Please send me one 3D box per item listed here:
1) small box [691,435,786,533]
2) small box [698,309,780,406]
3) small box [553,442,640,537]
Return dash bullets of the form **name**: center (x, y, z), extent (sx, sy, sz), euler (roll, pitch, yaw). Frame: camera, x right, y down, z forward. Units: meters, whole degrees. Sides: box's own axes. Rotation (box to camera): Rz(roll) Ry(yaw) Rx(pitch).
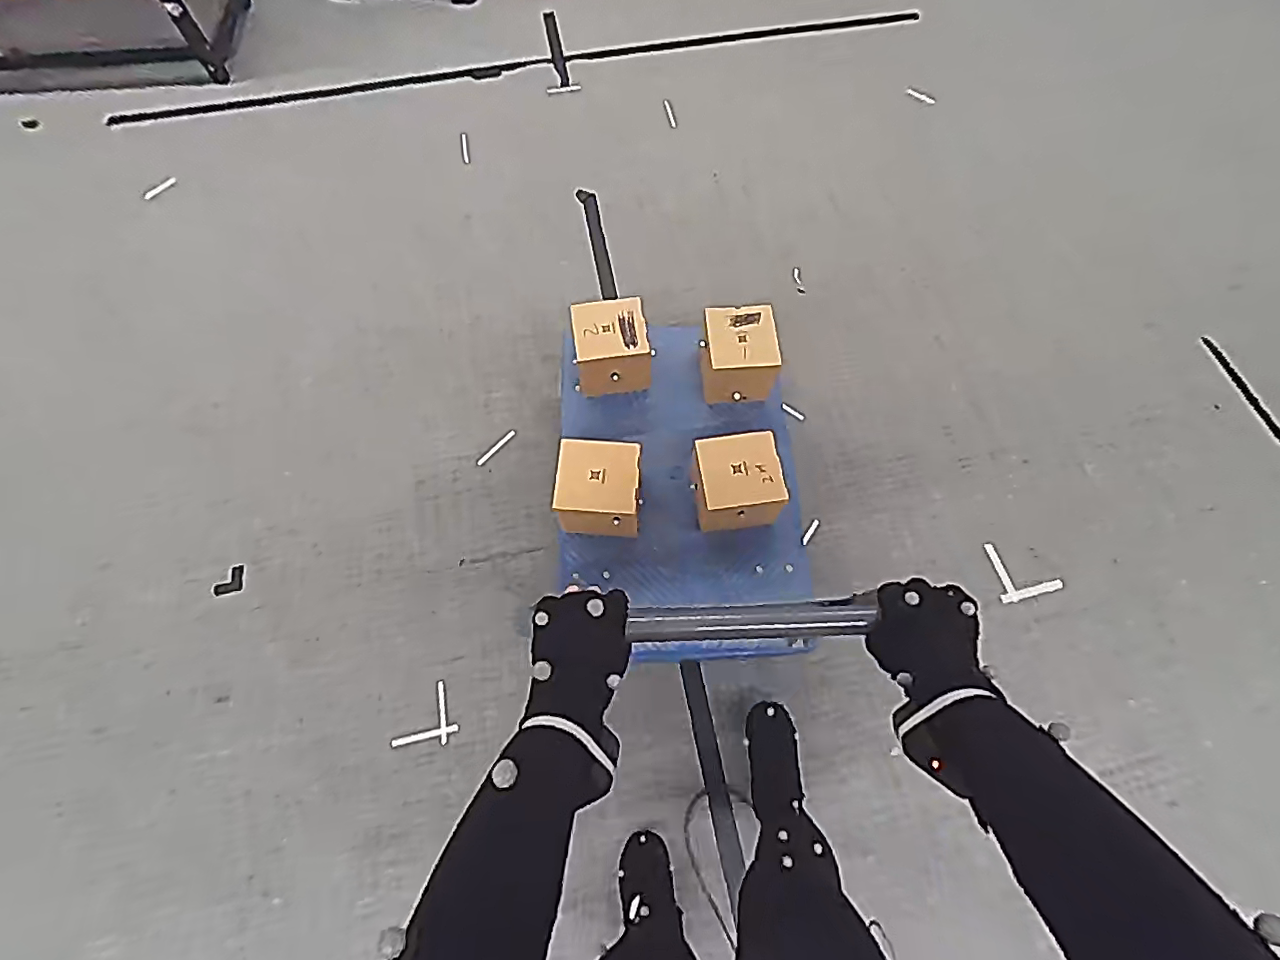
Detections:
- **small box**: center (0.214, 0.014, 1.233), extent (0.179, 0.176, 0.168), euler (-7, 68, -2)
- **small box**: center (0.242, -0.305, 1.362), extent (0.168, 0.176, 0.179), euler (-3, 69, -1)
- **small box**: center (-0.092, 0.027, 1.229), extent (0.179, 0.176, 0.168), euler (4, 68, 0)
